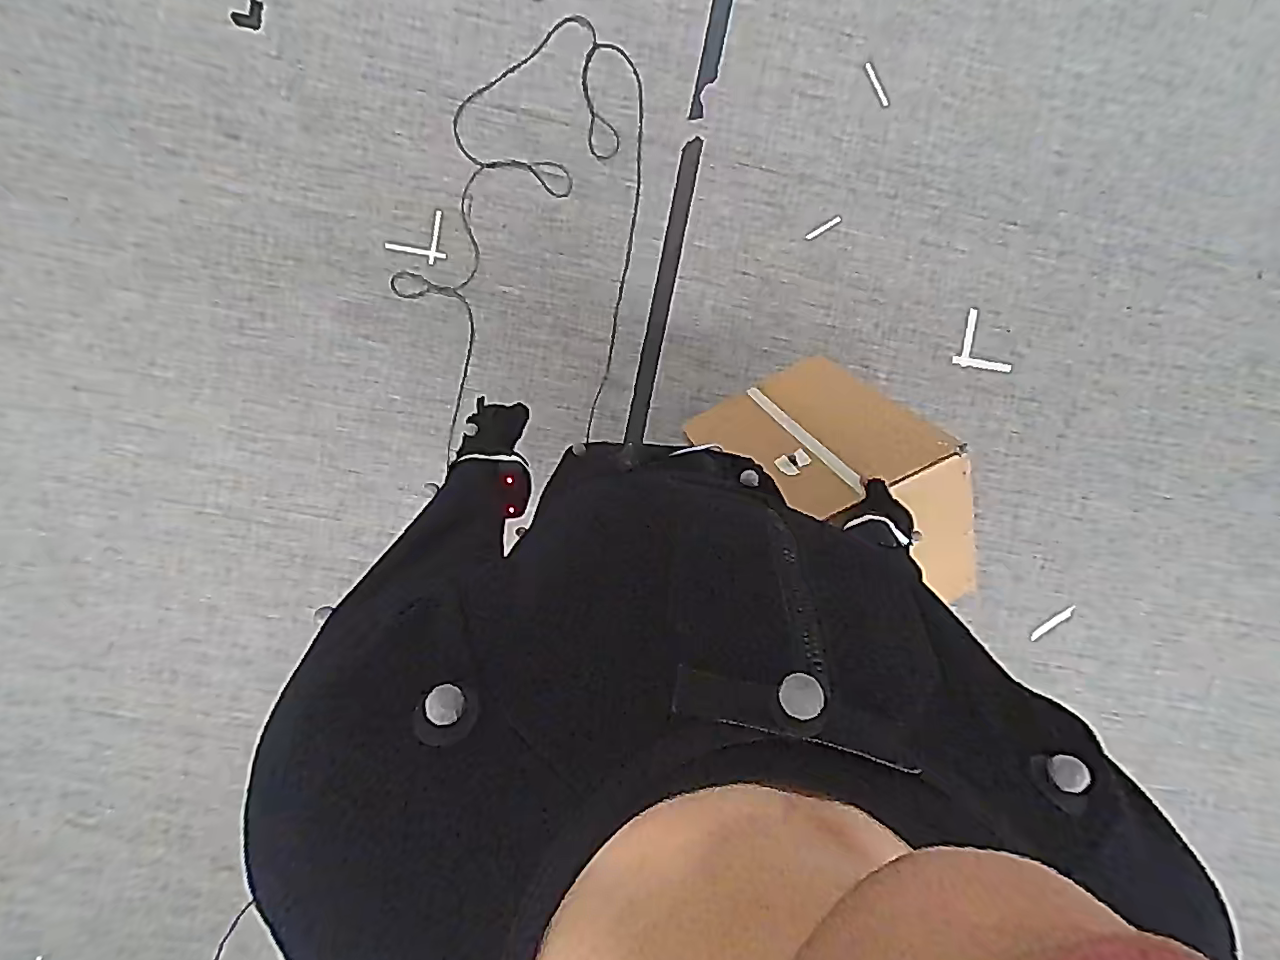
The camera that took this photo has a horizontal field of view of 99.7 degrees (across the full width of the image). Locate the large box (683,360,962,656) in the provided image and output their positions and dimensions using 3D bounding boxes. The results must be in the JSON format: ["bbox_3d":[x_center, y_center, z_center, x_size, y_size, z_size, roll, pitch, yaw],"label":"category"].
[{"bbox_3d":[0.323,0.034,1.012,0.320,0.408,0.320,-27,126,1],"label":"large box"}]
